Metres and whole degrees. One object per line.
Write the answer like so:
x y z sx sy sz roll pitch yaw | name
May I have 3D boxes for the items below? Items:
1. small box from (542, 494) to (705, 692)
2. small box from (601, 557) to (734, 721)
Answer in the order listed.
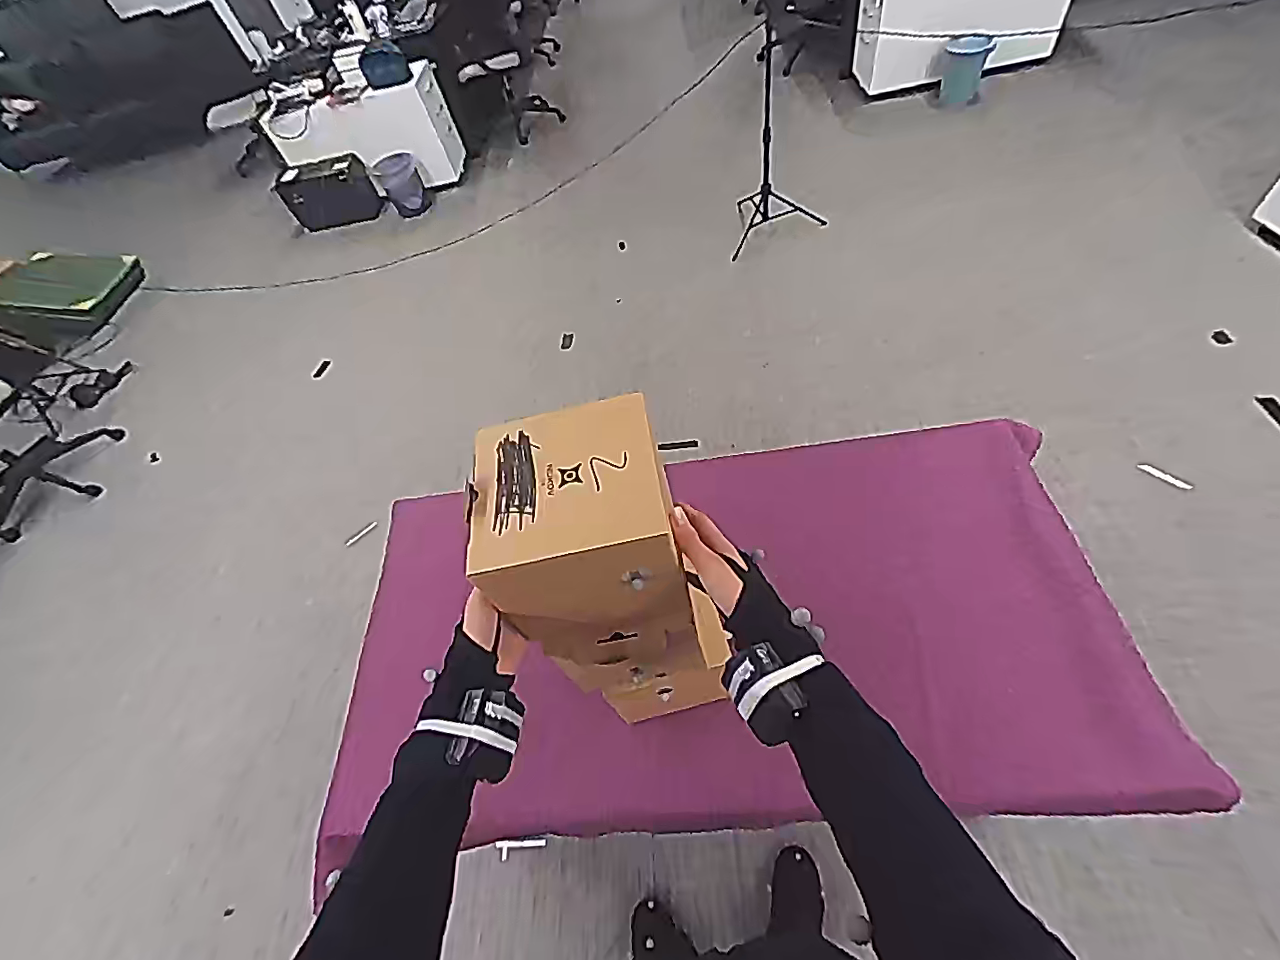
-0.018 0.146 0.679 0.168 0.176 0.179 -12 53 5 | small box
0.034 0.243 0.805 0.179 0.176 0.168 -15 54 1 | small box
